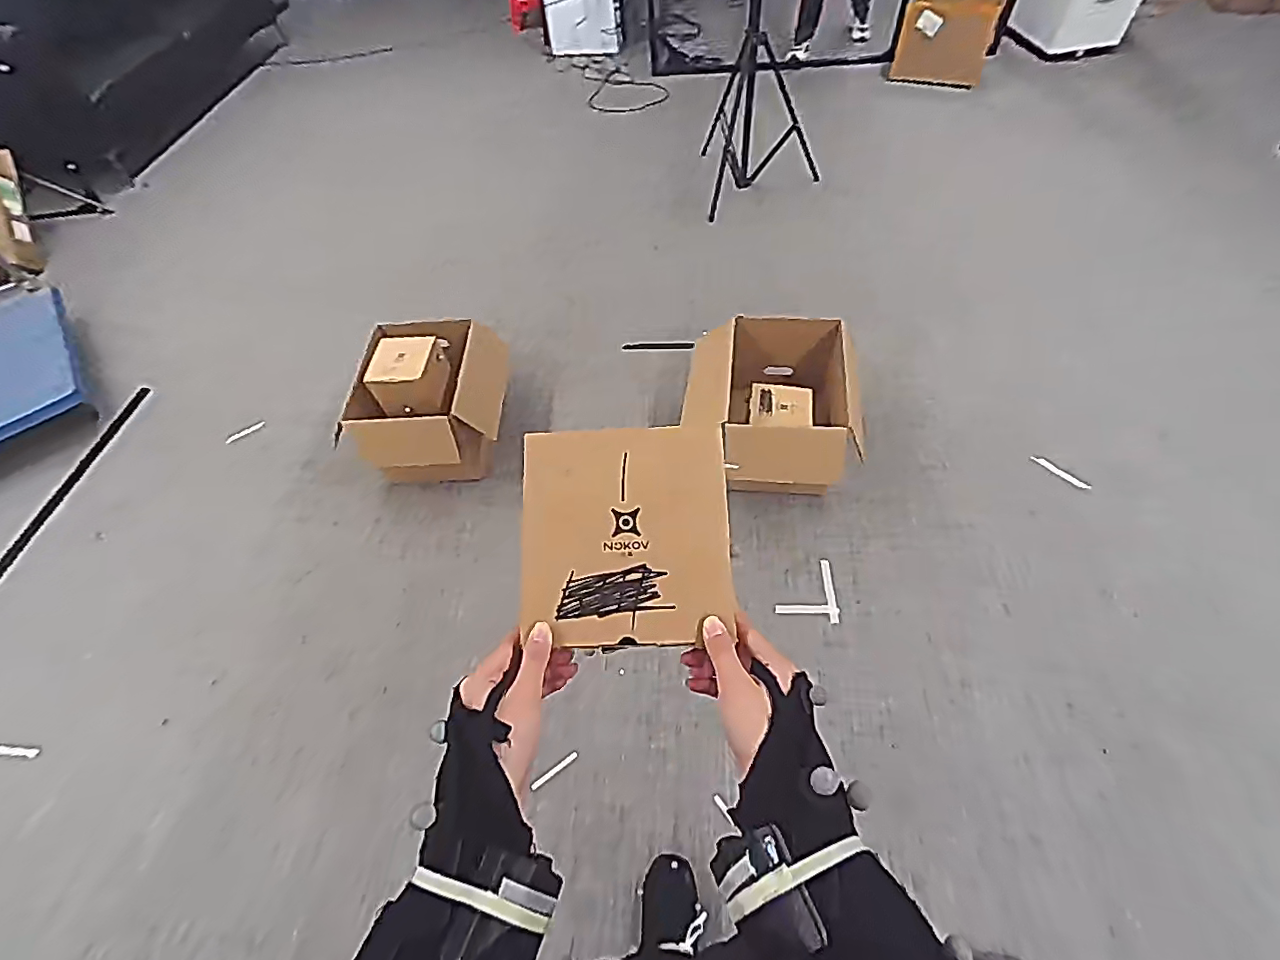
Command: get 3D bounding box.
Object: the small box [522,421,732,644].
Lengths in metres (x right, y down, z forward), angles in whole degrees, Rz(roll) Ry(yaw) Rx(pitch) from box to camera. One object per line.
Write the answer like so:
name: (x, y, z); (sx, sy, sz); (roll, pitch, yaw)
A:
small box: (-0.006, 0.057, 0.507); (0.168, 0.176, 0.179); (-2, 75, 3)

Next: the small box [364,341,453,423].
small box: (-0.672, -0.288, 1.595); (0.168, 0.176, 0.179); (-1, 56, 5)
